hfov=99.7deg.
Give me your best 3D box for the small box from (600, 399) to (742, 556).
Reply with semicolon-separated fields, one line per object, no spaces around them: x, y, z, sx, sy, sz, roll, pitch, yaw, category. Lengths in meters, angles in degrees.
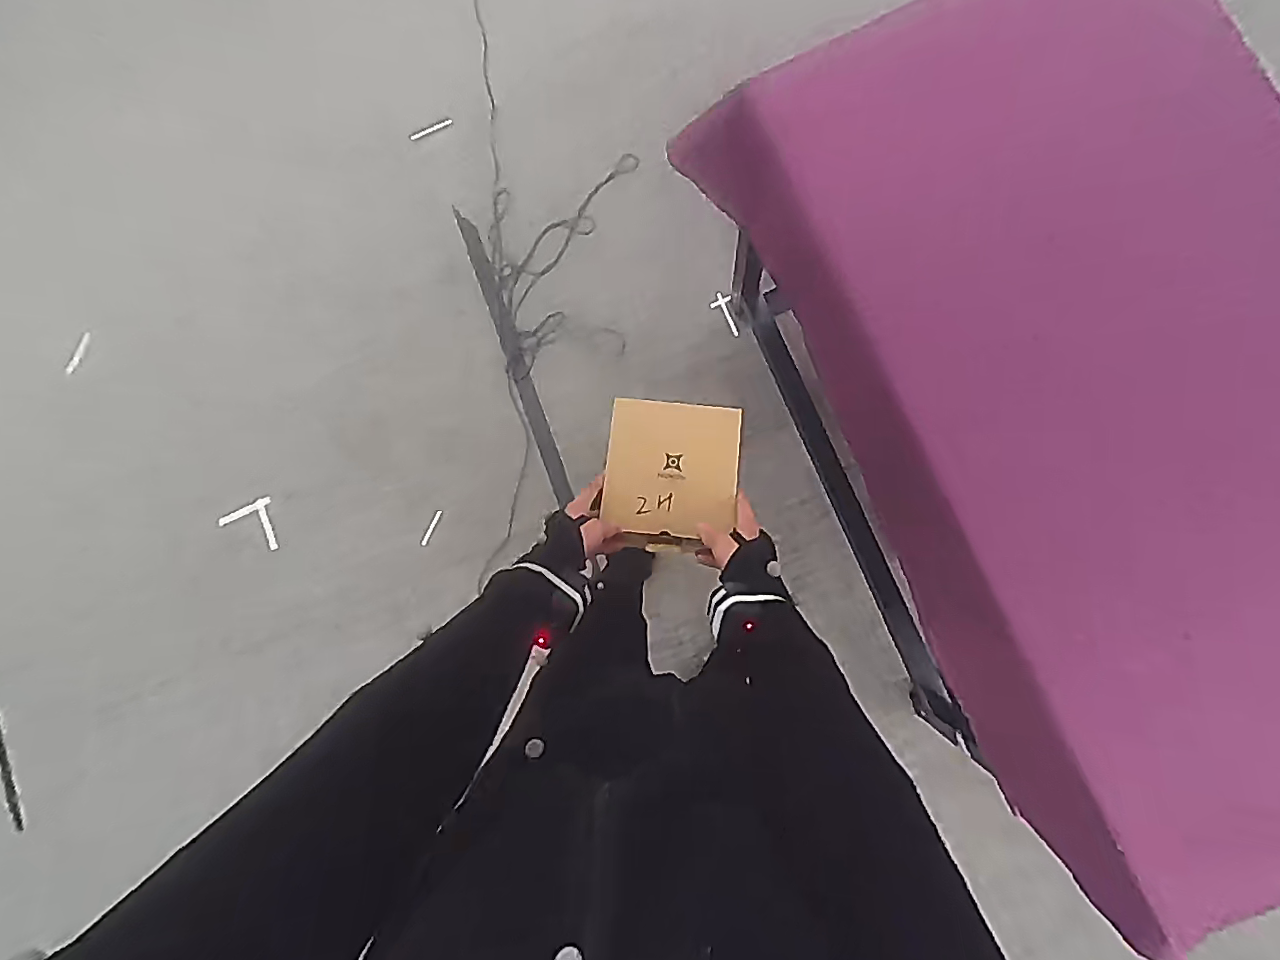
0.043;0.005;0.753;0.168;0.176;0.179;6;78;4;small box
